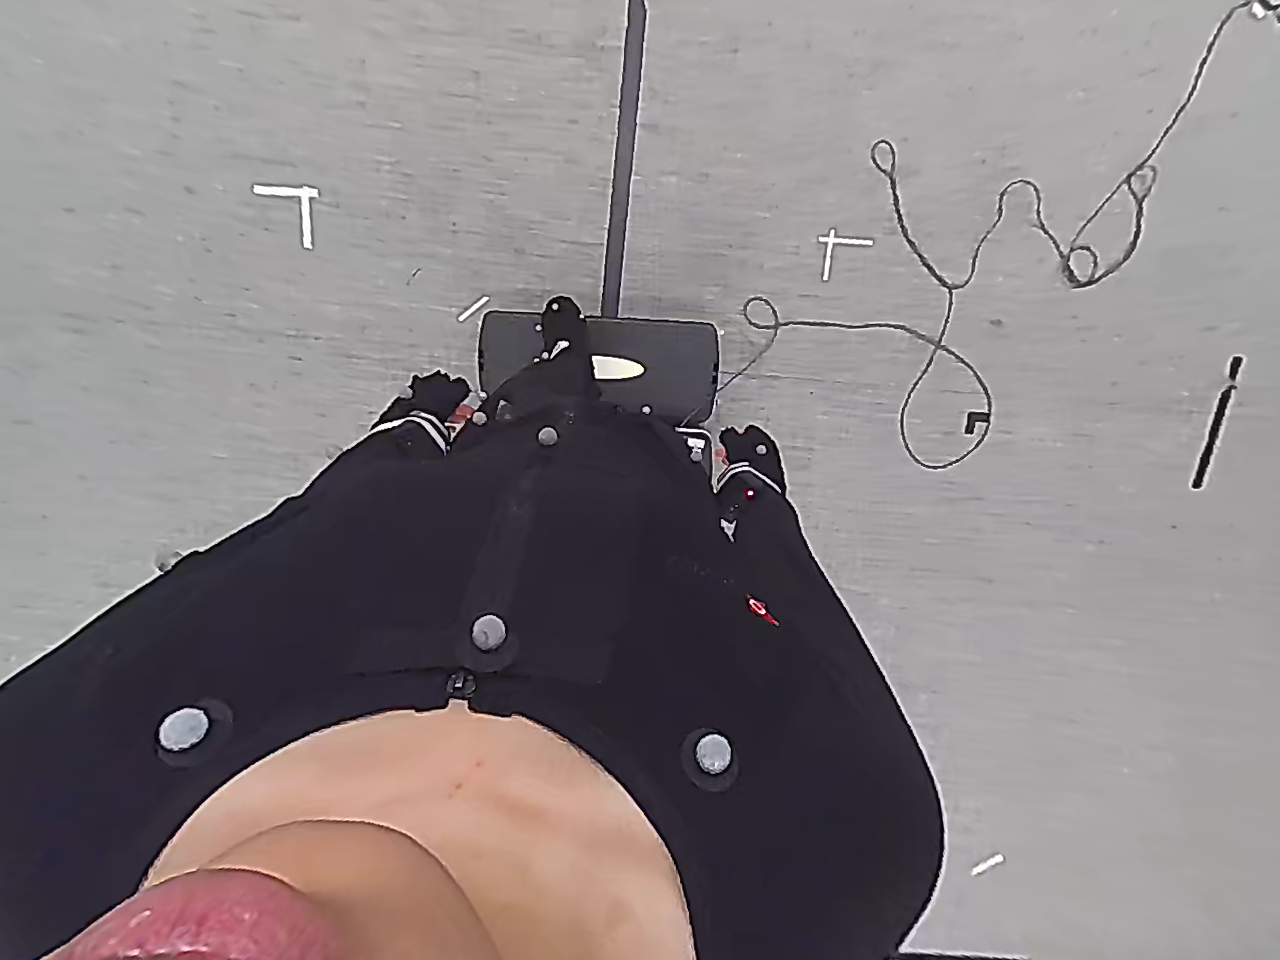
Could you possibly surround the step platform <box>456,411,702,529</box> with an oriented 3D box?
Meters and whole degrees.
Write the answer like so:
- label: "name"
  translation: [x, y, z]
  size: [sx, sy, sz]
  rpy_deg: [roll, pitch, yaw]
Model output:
- label: "step platform"
  translation: [-0.166, -0.031, 1.540]
  size: [0.684, 0.204, 0.286]
  rpy_deg: [4, 101, 0]
